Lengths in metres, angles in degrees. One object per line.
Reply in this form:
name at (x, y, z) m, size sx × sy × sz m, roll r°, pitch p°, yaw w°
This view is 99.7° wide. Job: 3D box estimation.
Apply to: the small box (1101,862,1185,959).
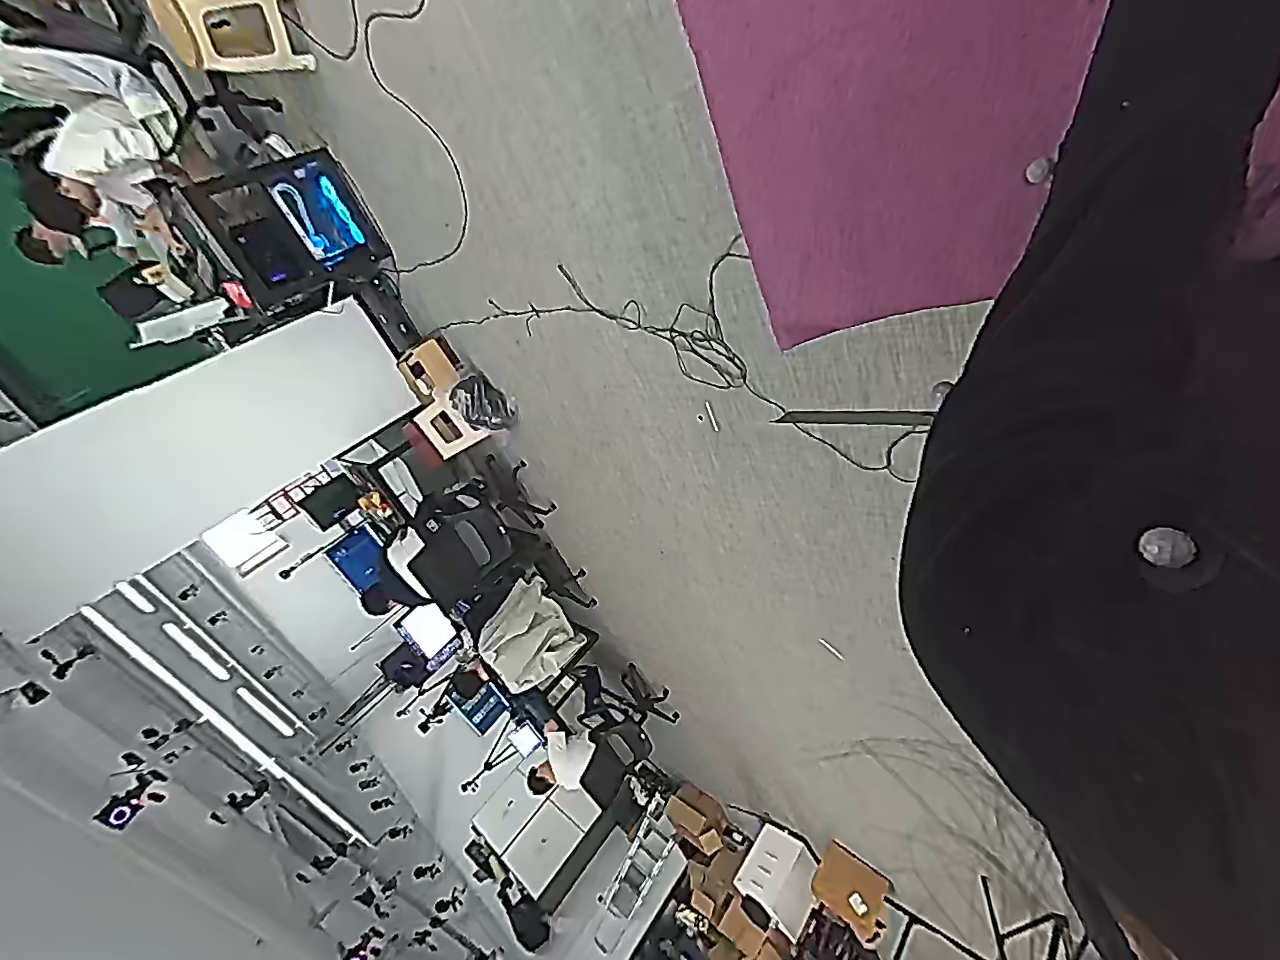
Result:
small box at (1.568, 1.349, 1.687) m, size 0.179 × 0.176 × 0.168 m, roll 8°, pitch 131°, yaw 48°
